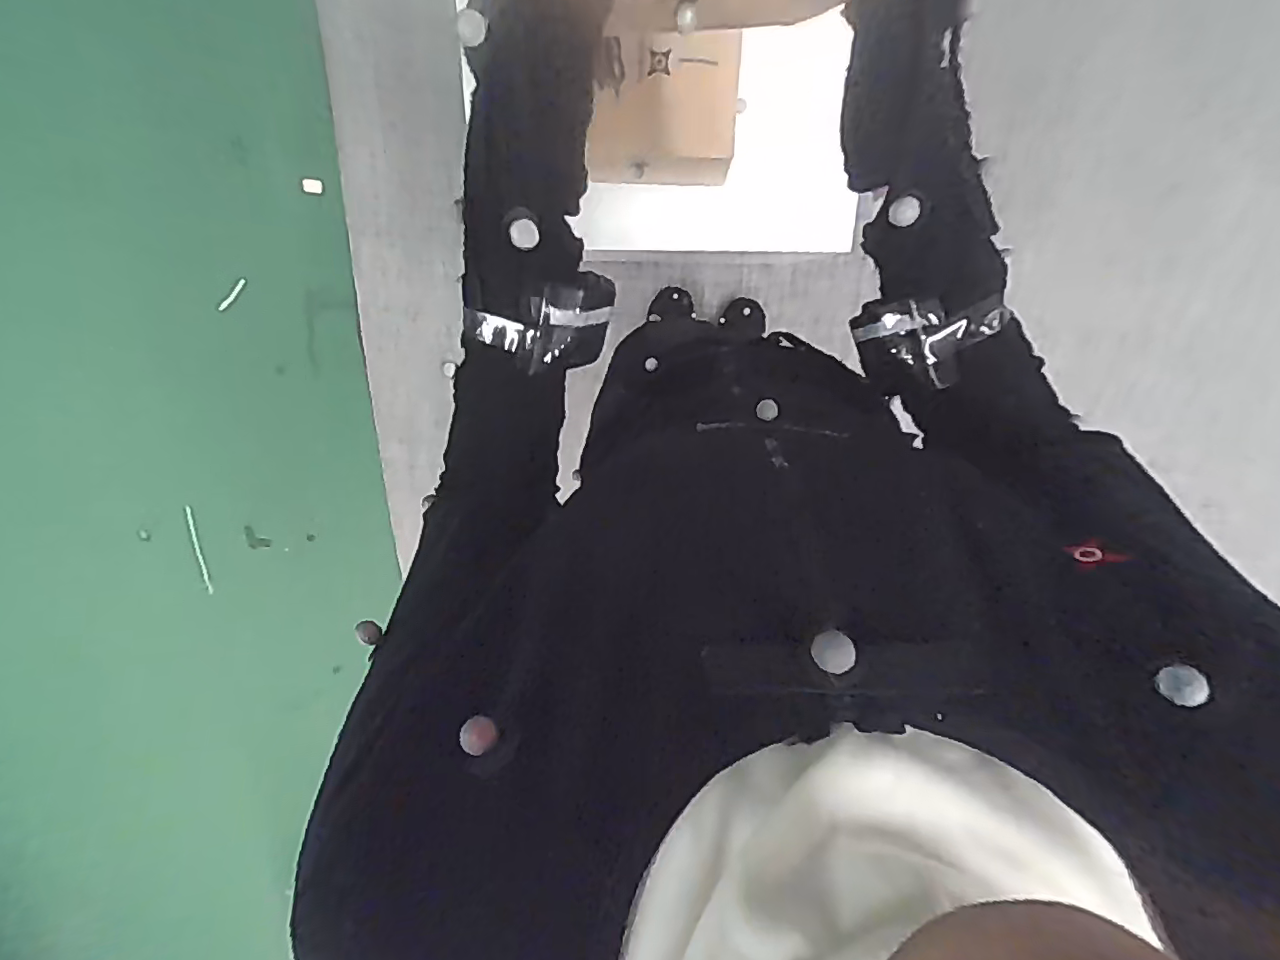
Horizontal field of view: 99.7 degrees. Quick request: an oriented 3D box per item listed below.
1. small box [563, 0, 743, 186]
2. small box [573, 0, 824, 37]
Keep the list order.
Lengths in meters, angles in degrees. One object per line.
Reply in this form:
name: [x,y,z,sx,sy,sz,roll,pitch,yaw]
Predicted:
small box: [0.018,-0.438,0.606,0.179,0.176,0.168,4,110,4]
small box: [0.034,-0.346,0.265,0.168,0.176,0.179,-7,125,0]
